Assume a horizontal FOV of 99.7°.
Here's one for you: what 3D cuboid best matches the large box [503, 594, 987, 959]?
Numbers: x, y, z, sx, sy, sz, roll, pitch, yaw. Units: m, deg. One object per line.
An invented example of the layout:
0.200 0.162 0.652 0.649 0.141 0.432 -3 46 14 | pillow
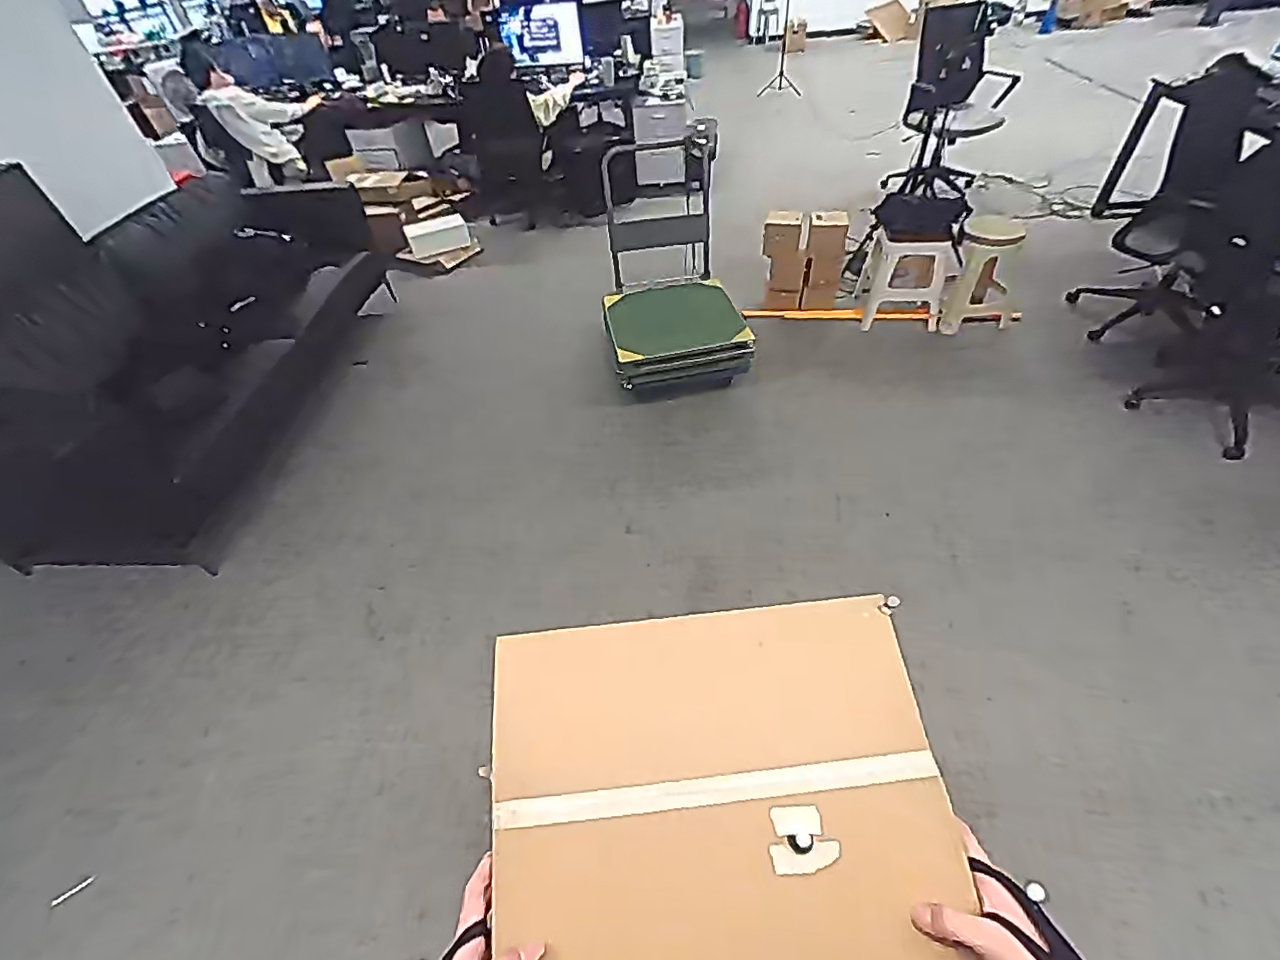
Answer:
0.075 0.347 0.634 0.408 0.320 0.320 -7 65 -2 | large box
